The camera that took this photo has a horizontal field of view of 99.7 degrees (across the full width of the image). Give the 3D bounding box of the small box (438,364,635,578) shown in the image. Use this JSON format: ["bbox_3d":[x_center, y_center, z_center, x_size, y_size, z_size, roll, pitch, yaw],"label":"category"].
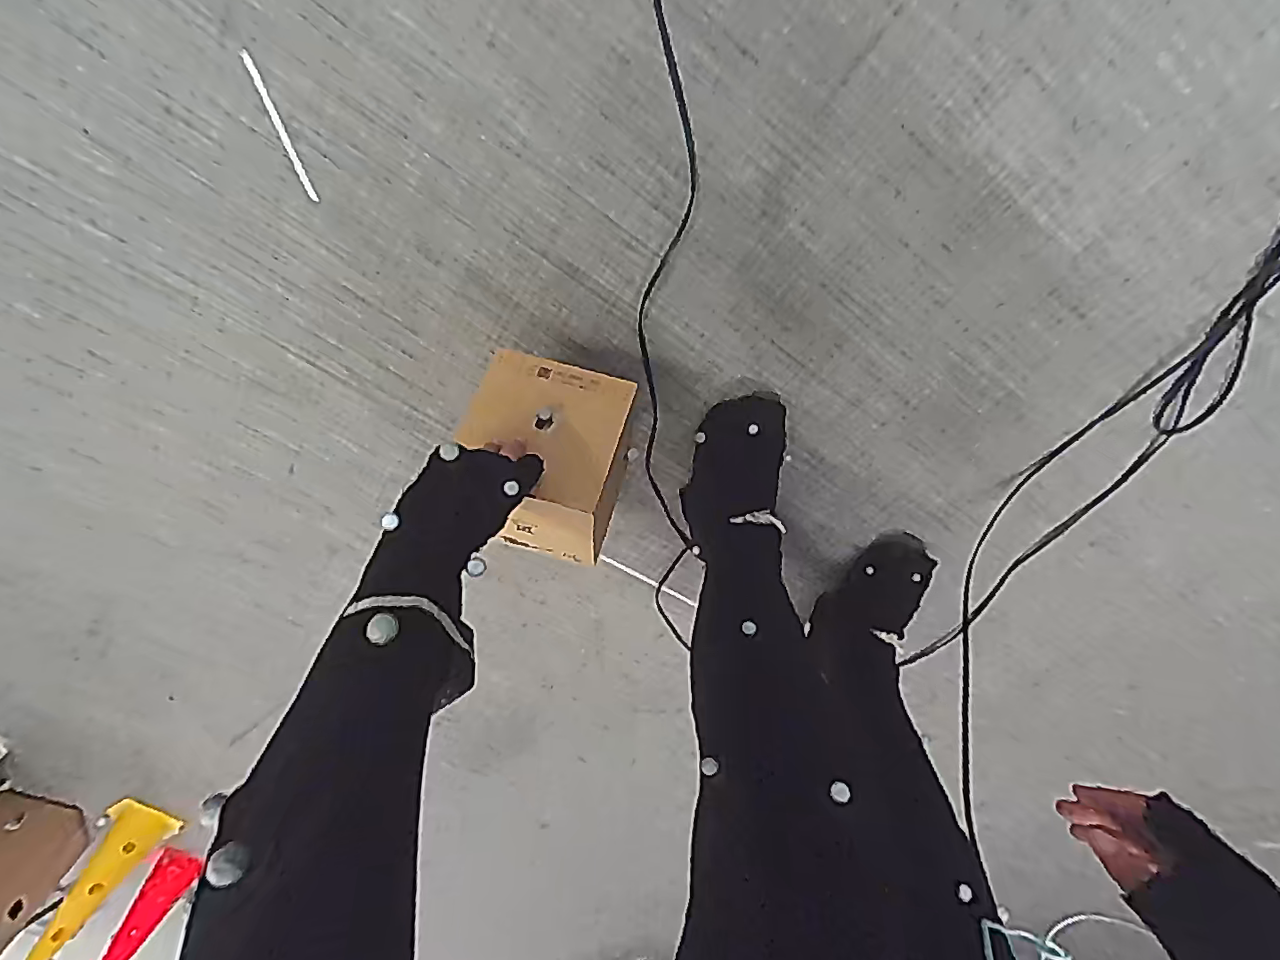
[{"bbox_3d":[-0.107,-0.007,0.631,0.168,0.176,0.179,15,153,3],"label":"small box"}]
